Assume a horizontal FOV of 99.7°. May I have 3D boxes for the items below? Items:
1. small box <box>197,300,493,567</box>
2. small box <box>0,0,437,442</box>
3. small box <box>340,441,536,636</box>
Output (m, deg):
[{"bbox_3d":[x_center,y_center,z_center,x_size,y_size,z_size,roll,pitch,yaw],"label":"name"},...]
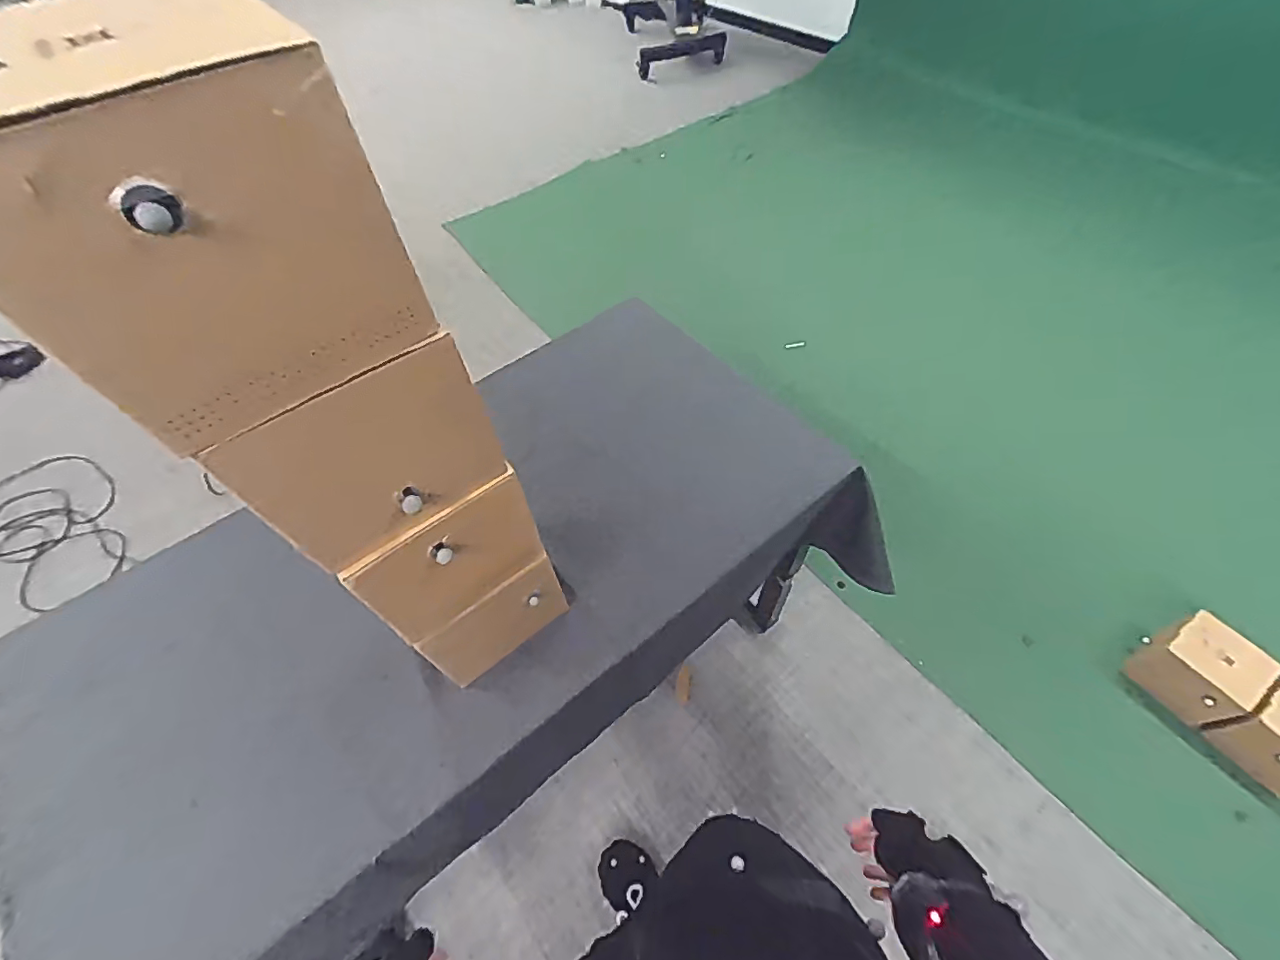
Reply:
[{"bbox_3d":[-0.244,-0.061,0.461,0.179,0.176,0.168,-33,59,-19],"label":"small box"},{"bbox_3d":[-0.258,-0.155,0.326,0.179,0.176,0.168,-35,61,-20],"label":"small box"},{"bbox_3d":[-0.231,0.036,0.592,0.179,0.176,0.168,-35,60,-20],"label":"small box"}]
